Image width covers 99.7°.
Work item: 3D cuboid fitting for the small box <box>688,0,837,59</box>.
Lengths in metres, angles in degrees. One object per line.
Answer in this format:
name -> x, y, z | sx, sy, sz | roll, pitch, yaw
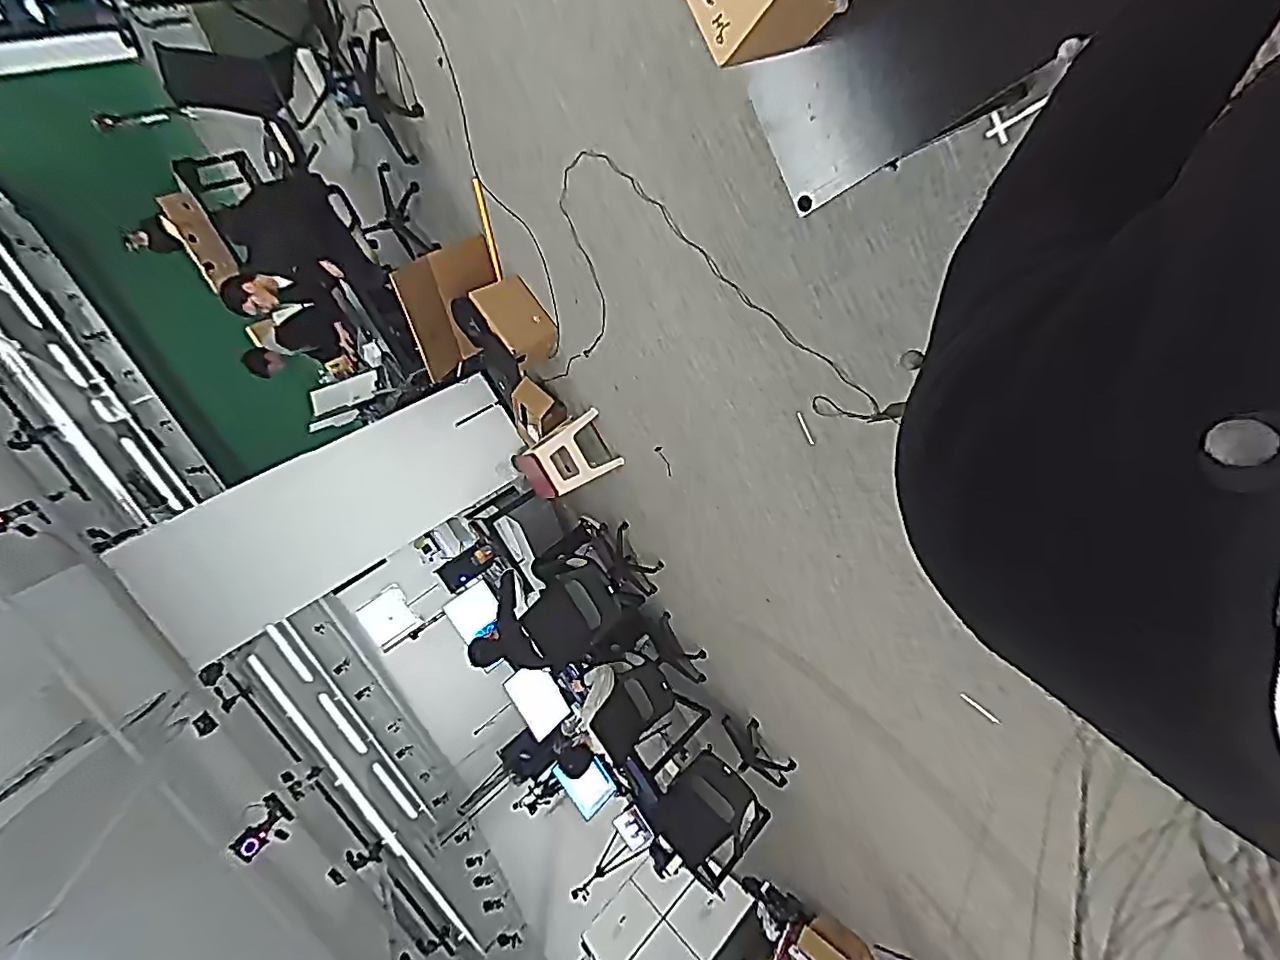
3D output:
small box -> 0.150, -0.604, 0.576 | 0.179, 0.176, 0.168 | -12, 110, 59
